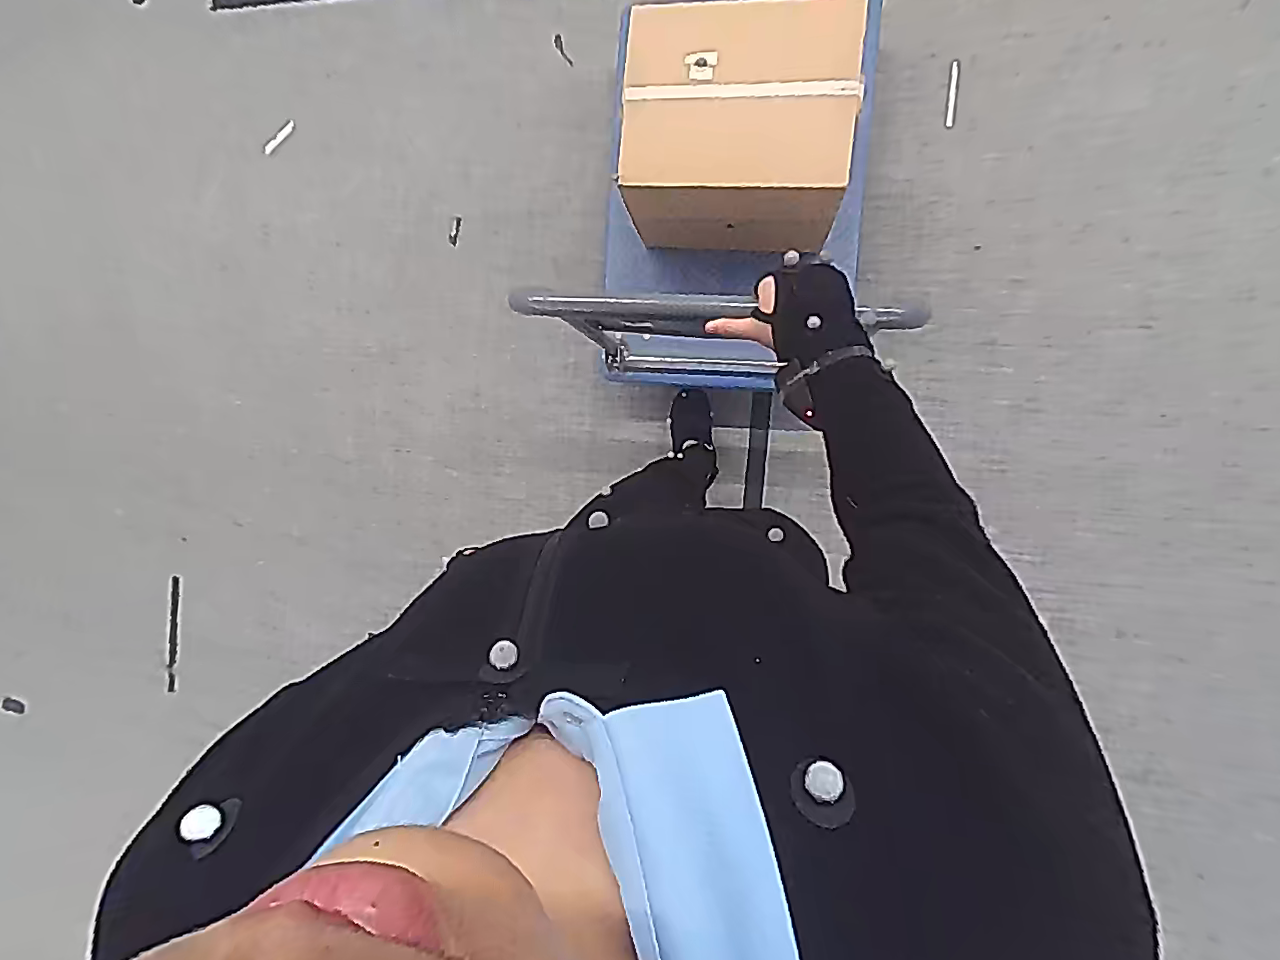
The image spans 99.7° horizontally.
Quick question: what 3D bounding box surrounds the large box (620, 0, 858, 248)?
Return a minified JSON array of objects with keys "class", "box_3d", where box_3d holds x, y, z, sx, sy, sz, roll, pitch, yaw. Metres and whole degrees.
[{"class":"large box","box_3d":[0.196,-0.682,1.102,0.408,0.320,0.320,5,93,11]}]
